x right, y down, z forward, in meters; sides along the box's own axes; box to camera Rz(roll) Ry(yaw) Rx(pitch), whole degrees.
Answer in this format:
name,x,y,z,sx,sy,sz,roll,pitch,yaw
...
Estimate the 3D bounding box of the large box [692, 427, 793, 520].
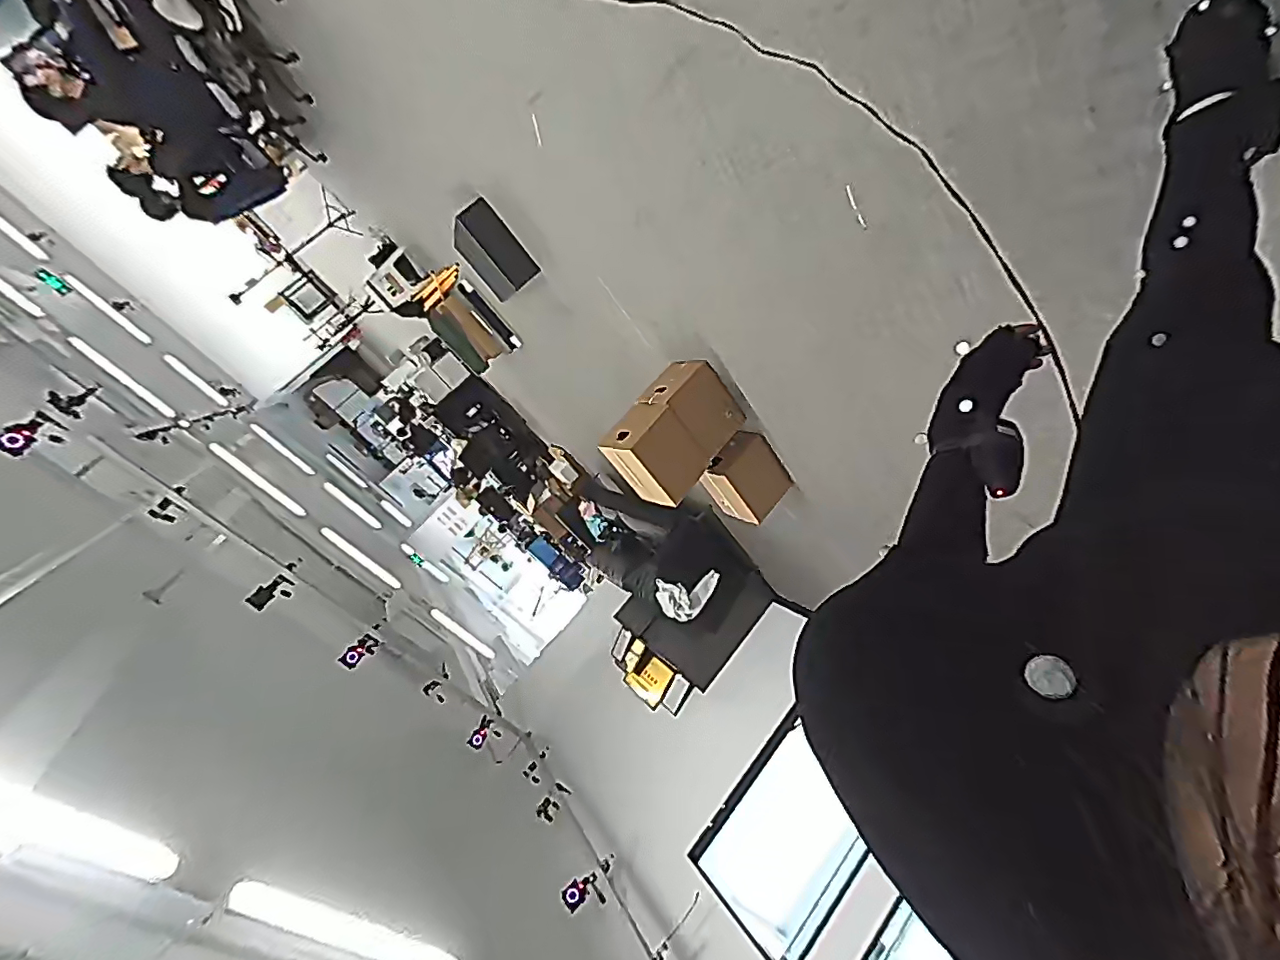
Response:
name,x,y,z,sx,sy,sz,roll,pitch,yaw
large box,0.573,-0.046,3.009,0.408,0.320,0.320,48,165,-29
